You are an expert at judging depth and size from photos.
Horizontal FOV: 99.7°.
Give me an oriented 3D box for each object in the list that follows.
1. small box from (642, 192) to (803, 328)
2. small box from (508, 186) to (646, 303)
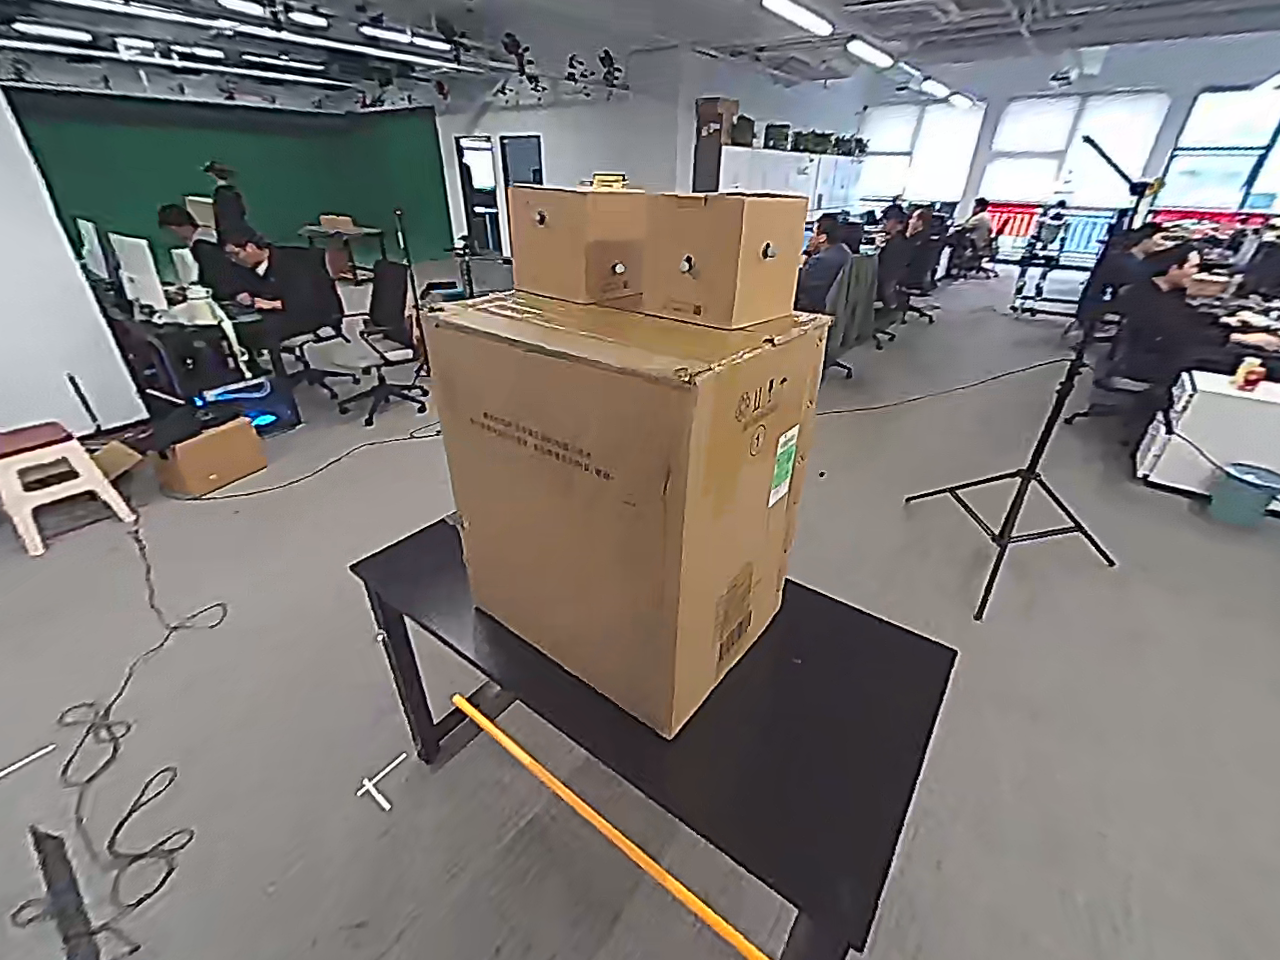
[{"bbox_3d":[0.120,-0.330,0.802,0.168,0.176,0.179,23,35,35],"label":"small box"},{"bbox_3d":[-0.107,-0.412,0.943,0.179,0.176,0.168,23,35,31],"label":"small box"}]
